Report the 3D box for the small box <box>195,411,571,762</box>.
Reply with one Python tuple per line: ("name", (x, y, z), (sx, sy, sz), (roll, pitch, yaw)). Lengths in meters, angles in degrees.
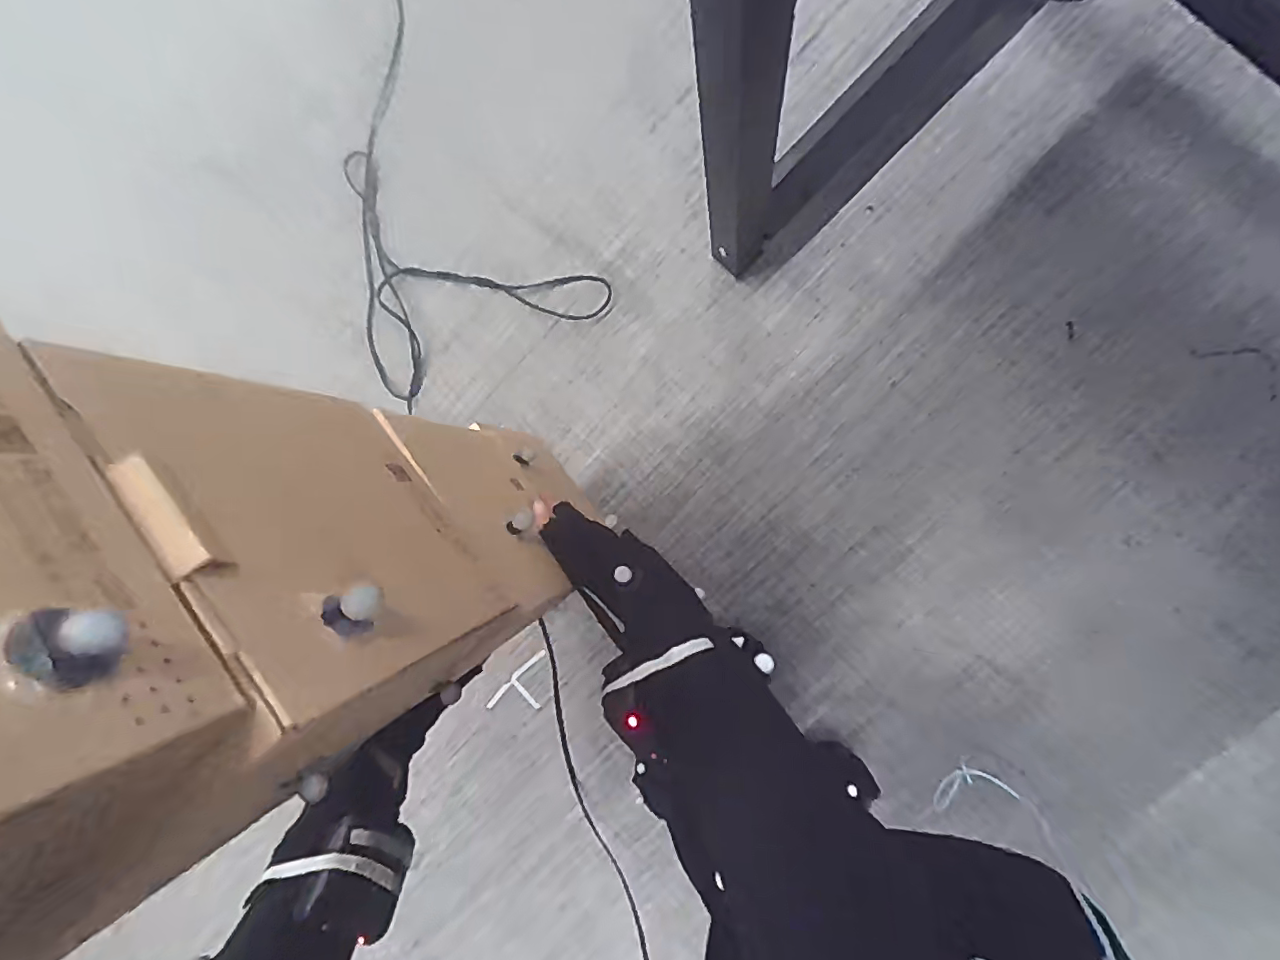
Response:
("small box", (-0.173, 0.068, 0.424), (0.179, 0.176, 0.168), (-37, 84, 9))
